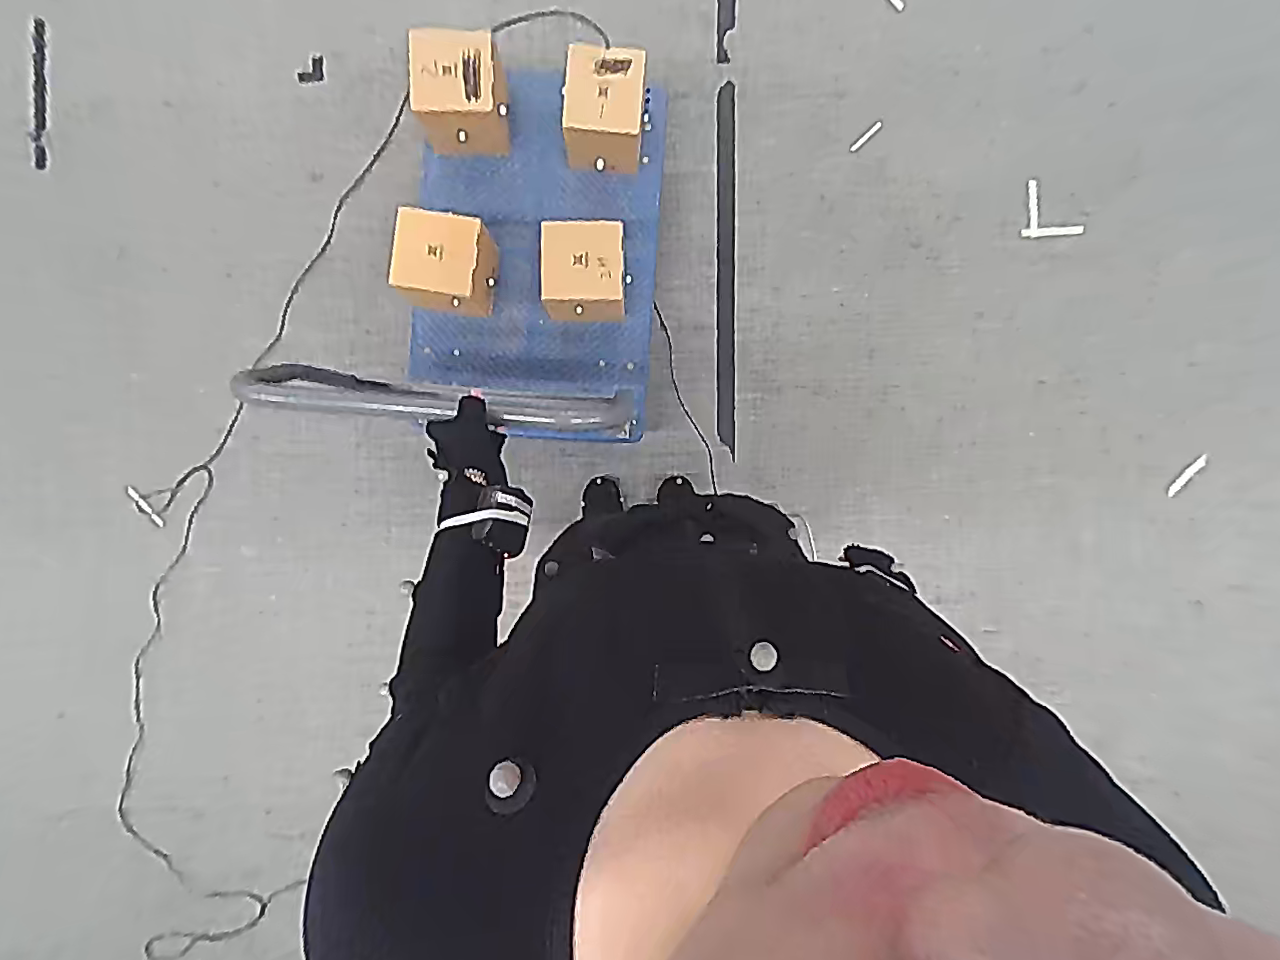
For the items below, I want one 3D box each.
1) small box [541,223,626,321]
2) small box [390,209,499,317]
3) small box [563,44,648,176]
[{"bbox_3d":[-0.122,-0.462,1.222,0.179,0.176,0.168,0,92,-1],"label":"small box"},{"bbox_3d":[-0.431,-0.478,1.216,0.179,0.176,0.168,8,91,-3],"label":"small box"},{"bbox_3d":[-0.075,-0.820,1.214,0.168,0.176,0.179,5,92,-1],"label":"small box"}]
